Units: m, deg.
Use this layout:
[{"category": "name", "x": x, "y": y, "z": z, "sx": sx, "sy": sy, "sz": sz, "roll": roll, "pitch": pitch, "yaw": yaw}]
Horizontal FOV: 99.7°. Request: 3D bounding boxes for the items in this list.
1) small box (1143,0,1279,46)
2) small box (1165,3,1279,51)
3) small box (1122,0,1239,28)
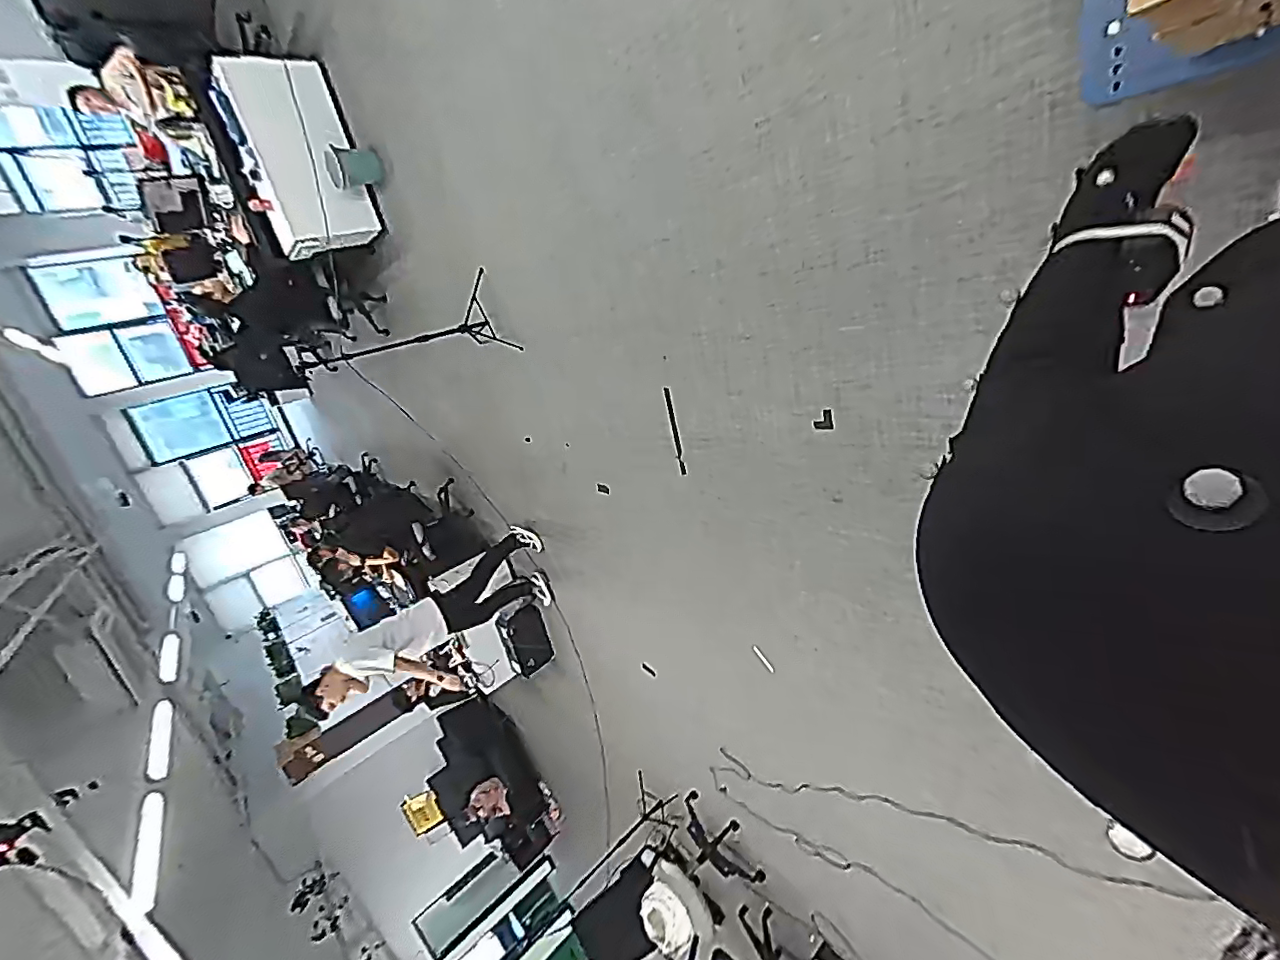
[{"category": "small box", "x": 0.679, "y": -0.620, "z": 0.595, "sx": 0.168, "sy": 0.176, "sz": 0.179, "roll": 4, "pitch": 117, "yaw": 50}, {"category": "small box", "x": 0.799, "y": -0.685, "z": 0.687, "sx": 0.168, "sy": 0.176, "sz": 0.179, "roll": 6, "pitch": 117, "yaw": 49}, {"category": "small box", "x": 0.566, "y": -0.559, "z": 0.492, "sx": 0.168, "sy": 0.176, "sz": 0.179, "roll": 7, "pitch": 119, "yaw": 49}]
